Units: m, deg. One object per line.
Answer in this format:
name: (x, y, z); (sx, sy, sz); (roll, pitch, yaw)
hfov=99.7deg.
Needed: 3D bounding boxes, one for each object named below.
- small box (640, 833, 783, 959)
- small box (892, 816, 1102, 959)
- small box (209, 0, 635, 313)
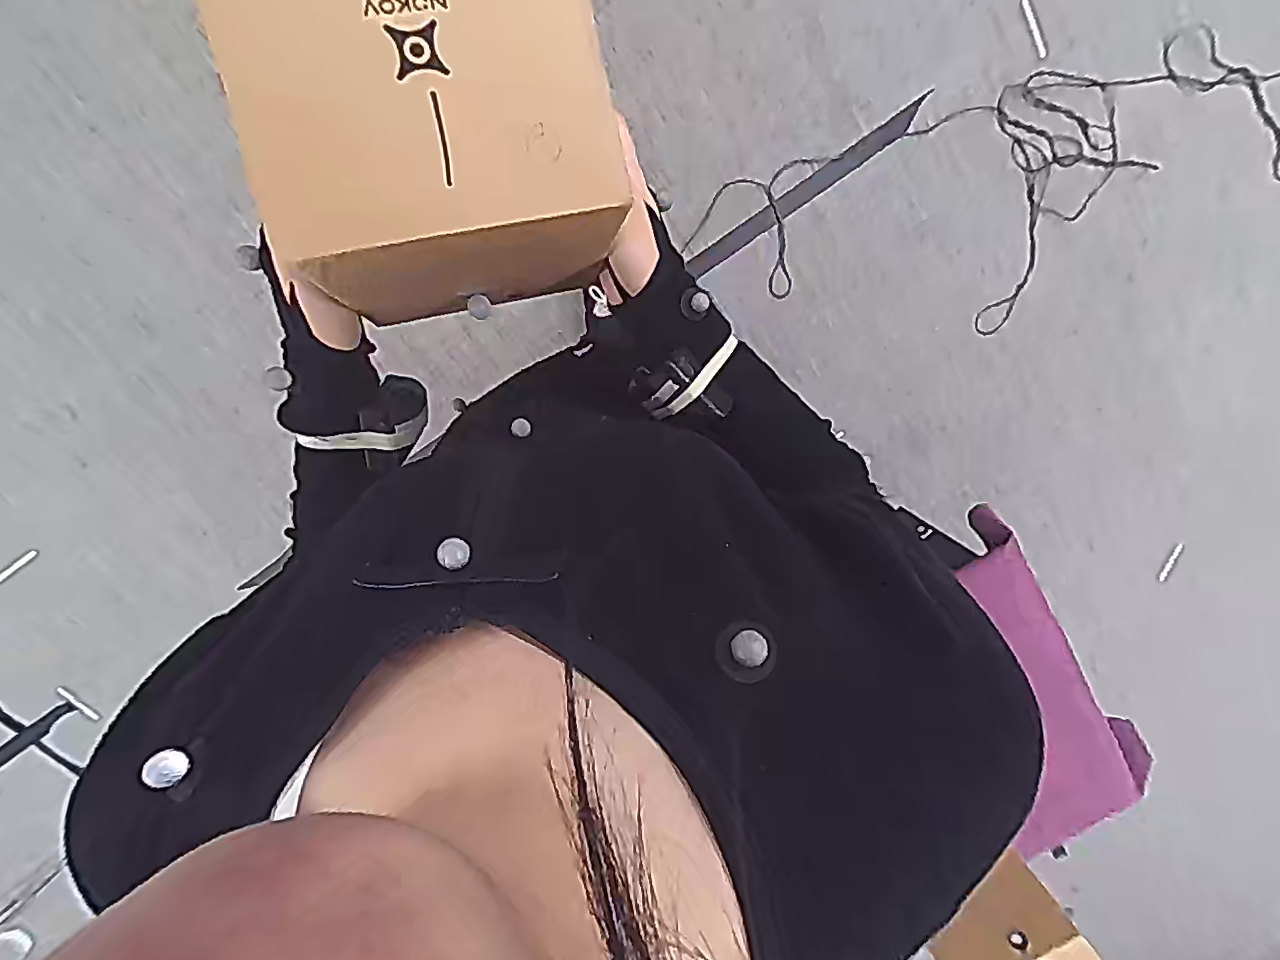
small box: (0.113, 0.743, 0.905); (0.179, 0.176, 0.168); (-32, 105, 6)
small box: (0.479, 0.598, 0.718); (0.168, 0.176, 0.179); (-37, 107, 6)
small box: (-0.114, -0.213, 0.315); (0.168, 0.176, 0.179); (-14, 99, -10)
